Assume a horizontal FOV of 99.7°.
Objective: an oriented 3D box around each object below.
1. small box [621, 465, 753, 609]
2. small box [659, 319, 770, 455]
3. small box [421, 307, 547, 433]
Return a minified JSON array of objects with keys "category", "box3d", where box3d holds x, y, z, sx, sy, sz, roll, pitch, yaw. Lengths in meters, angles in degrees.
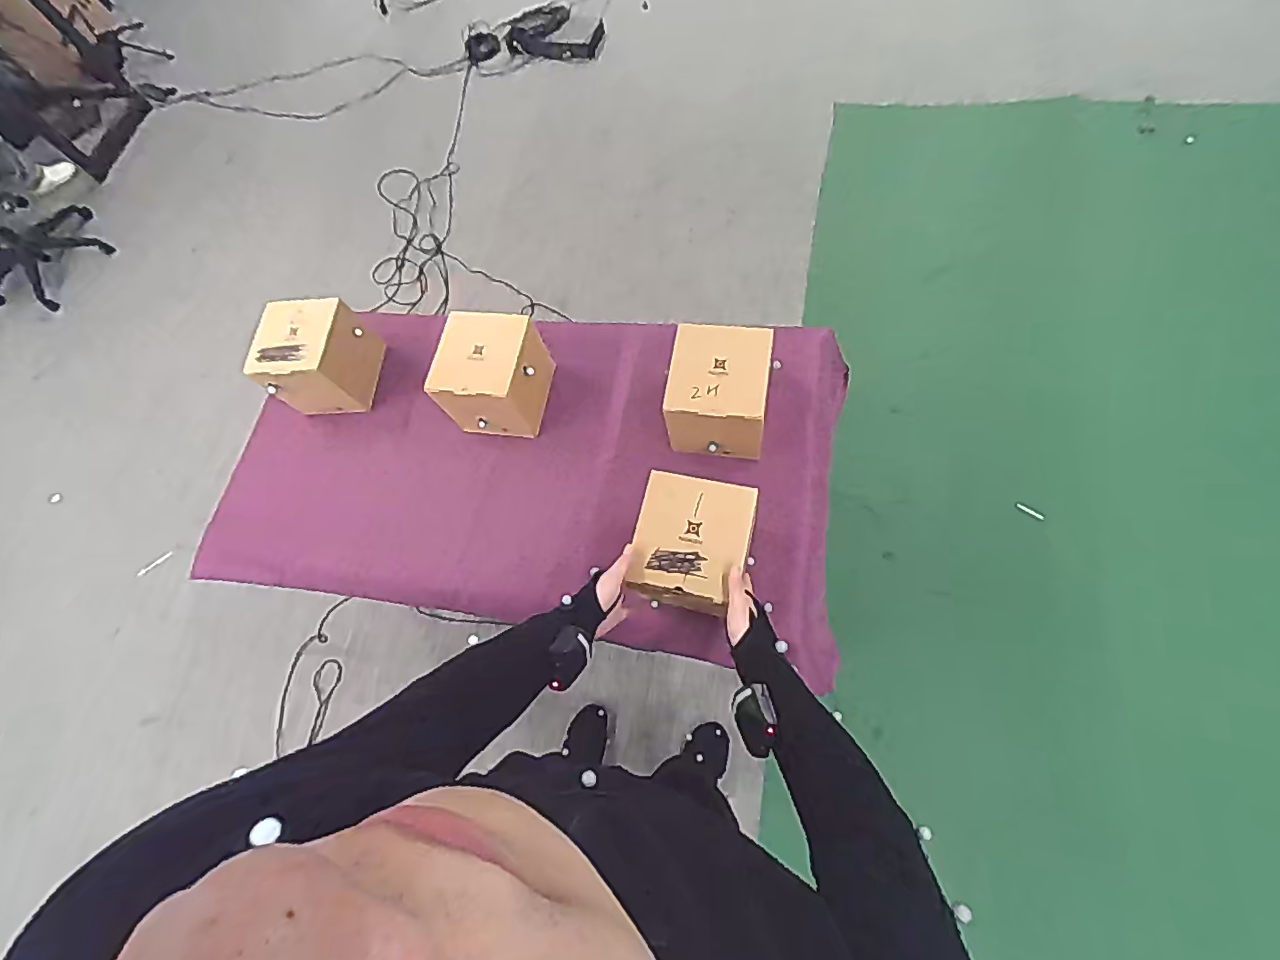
[{"category":"small box","box3d":[0.082,0.098,0.860,0.168,0.176,0.179,11,72,13]},{"category":"small box","box3d":[0.137,-0.164,0.977,0.168,0.176,0.179,7,71,12]},{"category":"small box","box3d":[-0.292,-0.212,1.061,0.168,0.176,0.179,6,72,10]}]
